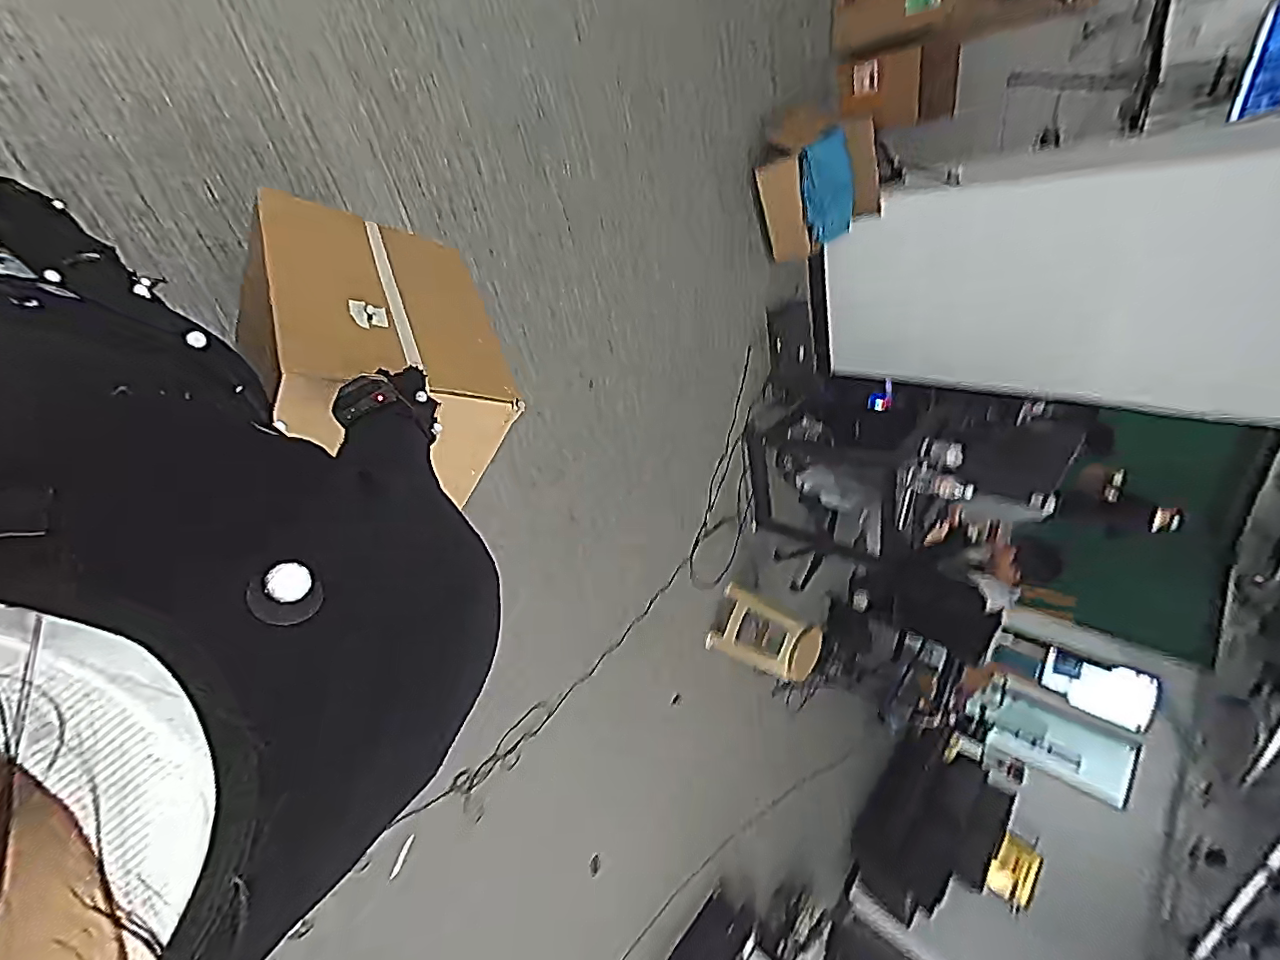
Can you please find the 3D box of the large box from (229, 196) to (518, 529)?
[{"bbox_3d":[-0.461,-0.172,0.898,0.320,0.408,0.320,1,142,-42],"label":"large box"}]
